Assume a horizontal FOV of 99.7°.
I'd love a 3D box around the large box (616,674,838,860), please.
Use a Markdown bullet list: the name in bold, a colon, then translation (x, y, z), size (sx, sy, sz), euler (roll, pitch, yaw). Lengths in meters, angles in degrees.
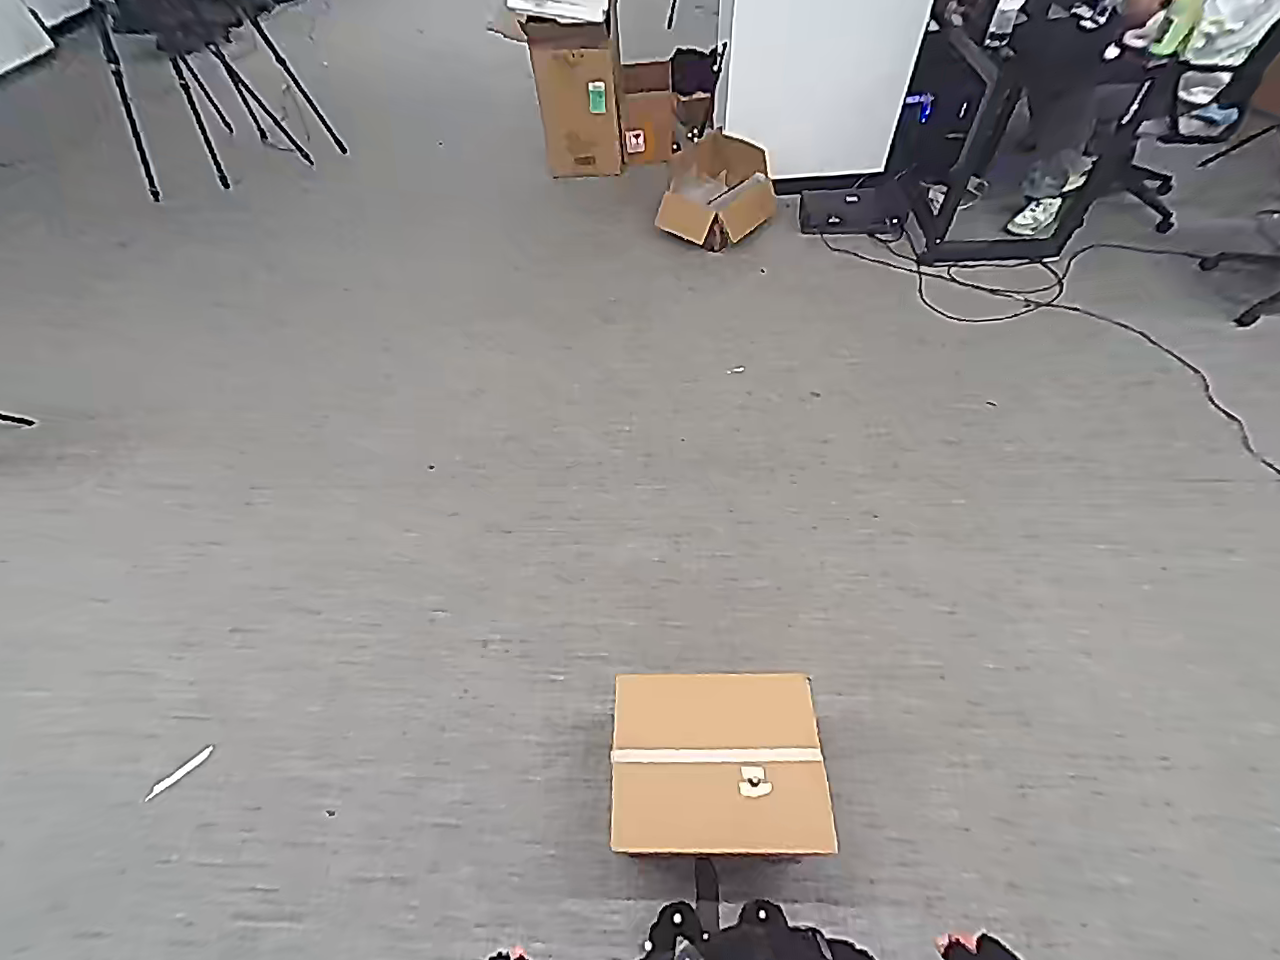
- **large box**: translation (0.157, 0.625, 1.167), size (0.408, 0.320, 0.320), euler (-1, 54, 2)
